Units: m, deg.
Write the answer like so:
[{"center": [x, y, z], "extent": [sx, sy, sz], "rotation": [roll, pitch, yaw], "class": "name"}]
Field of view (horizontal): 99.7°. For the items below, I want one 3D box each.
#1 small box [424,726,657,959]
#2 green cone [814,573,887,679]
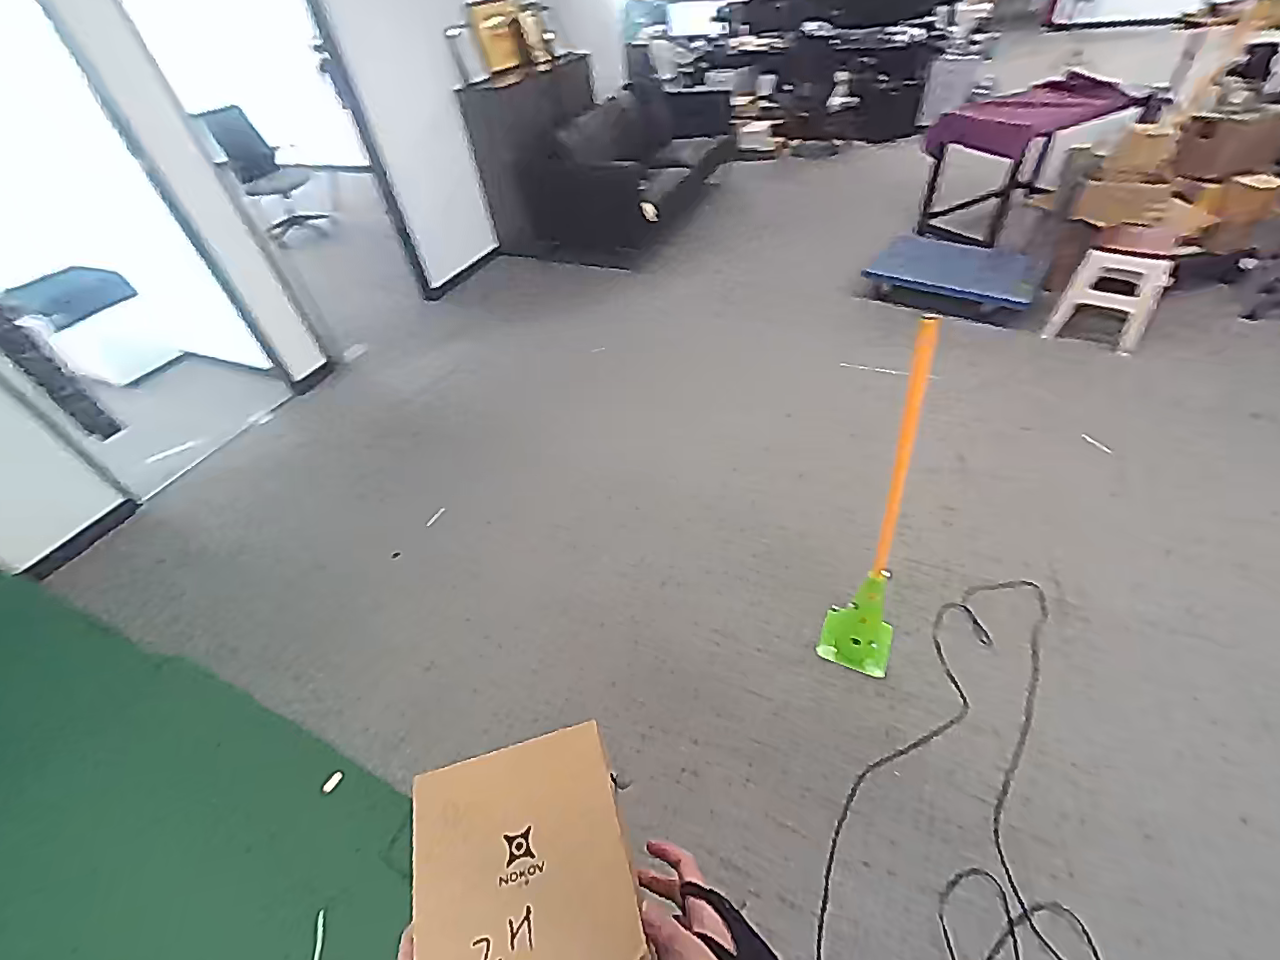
[{"center": [-0.085, 0.358, 0.492], "extent": [0.168, 0.176, 0.179], "rotation": [-13, 48, -7], "class": "small box"}, {"center": [0.662, 0.398, 1.609], "extent": [0.202, 0.368, 0.200], "rotation": [16, 50, 21], "class": "green cone"}]
